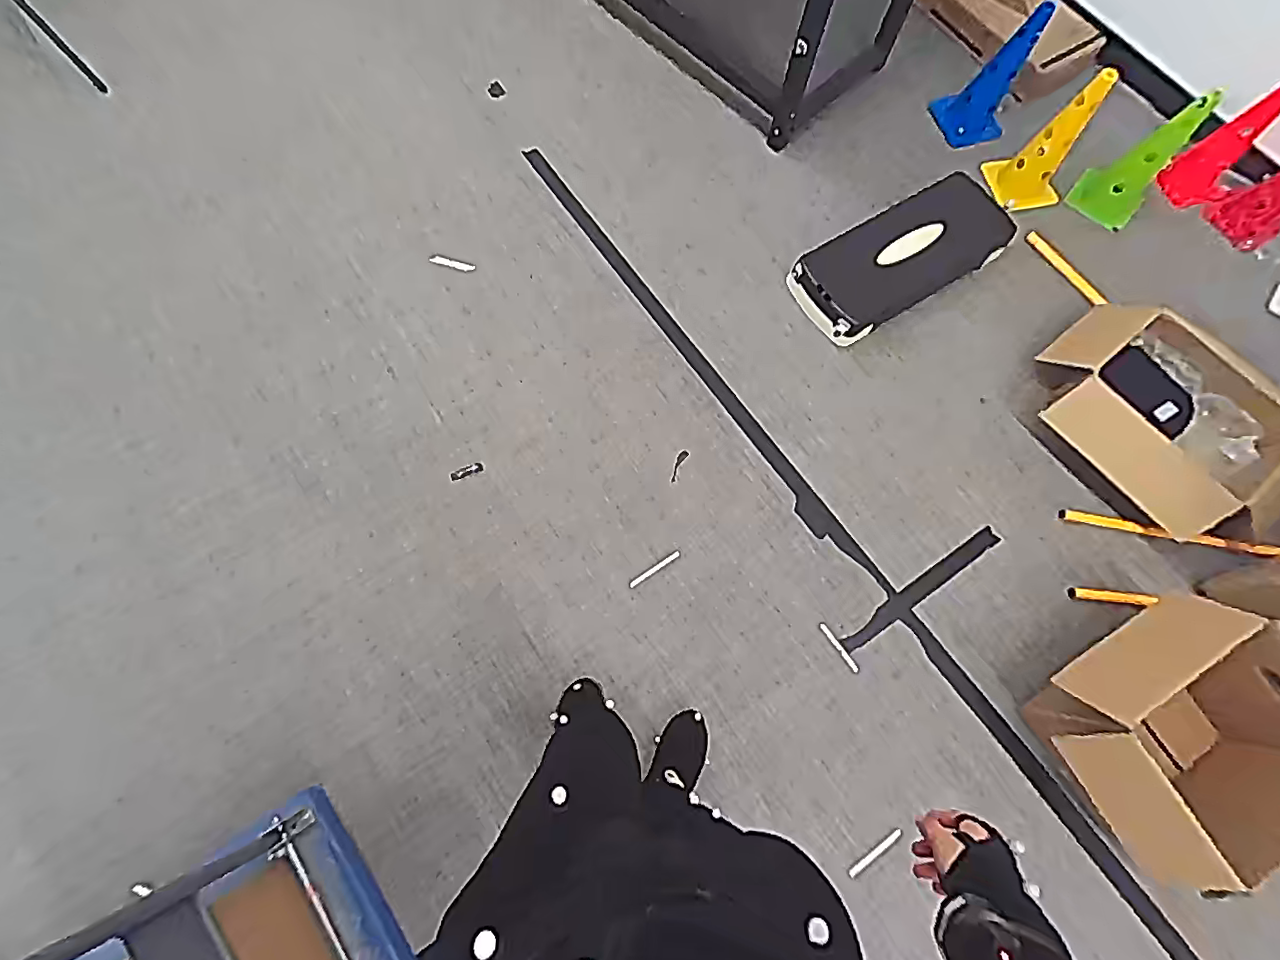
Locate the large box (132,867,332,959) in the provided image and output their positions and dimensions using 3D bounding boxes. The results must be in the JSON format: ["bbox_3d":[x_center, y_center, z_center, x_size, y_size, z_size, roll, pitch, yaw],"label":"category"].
[{"bbox_3d":[-0.673,0.923,0.814,0.320,0.320,0.408,-34,76,-12],"label":"large box"}]
